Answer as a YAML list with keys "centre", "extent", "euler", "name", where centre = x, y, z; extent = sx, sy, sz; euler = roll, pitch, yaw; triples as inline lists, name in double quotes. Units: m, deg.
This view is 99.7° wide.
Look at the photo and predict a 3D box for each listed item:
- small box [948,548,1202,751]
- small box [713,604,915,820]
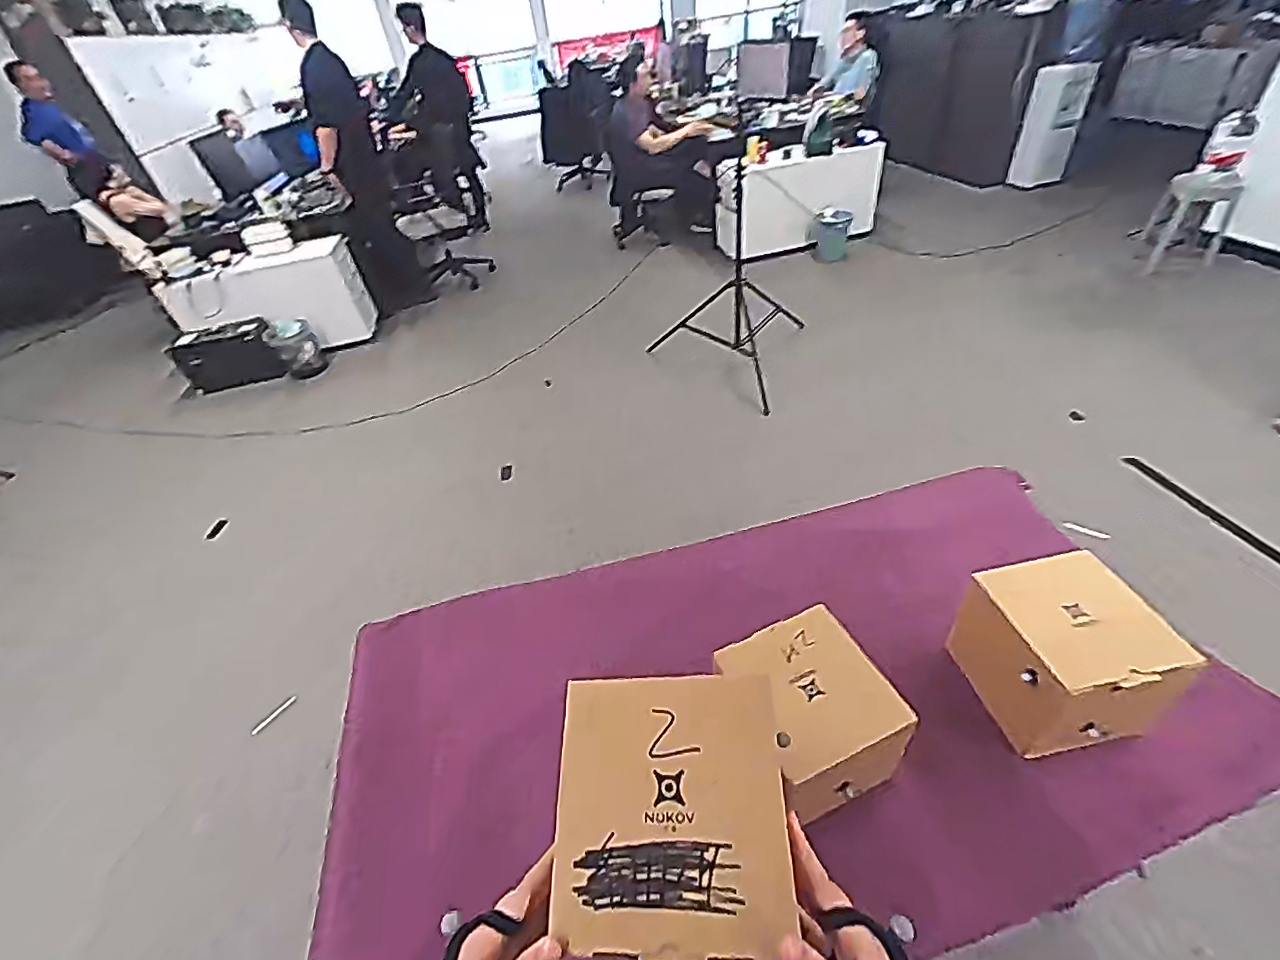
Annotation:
- centre: [0.543, 0.221, 0.713]
  extent: [0.168, 0.176, 0.179]
  euler: [-12, 40, -2]
  name: "small box"
- centre: [0.208, 0.299, 0.688]
  extent: [0.168, 0.176, 0.179]
  euler: [-20, 42, -13]
  name: "small box"
